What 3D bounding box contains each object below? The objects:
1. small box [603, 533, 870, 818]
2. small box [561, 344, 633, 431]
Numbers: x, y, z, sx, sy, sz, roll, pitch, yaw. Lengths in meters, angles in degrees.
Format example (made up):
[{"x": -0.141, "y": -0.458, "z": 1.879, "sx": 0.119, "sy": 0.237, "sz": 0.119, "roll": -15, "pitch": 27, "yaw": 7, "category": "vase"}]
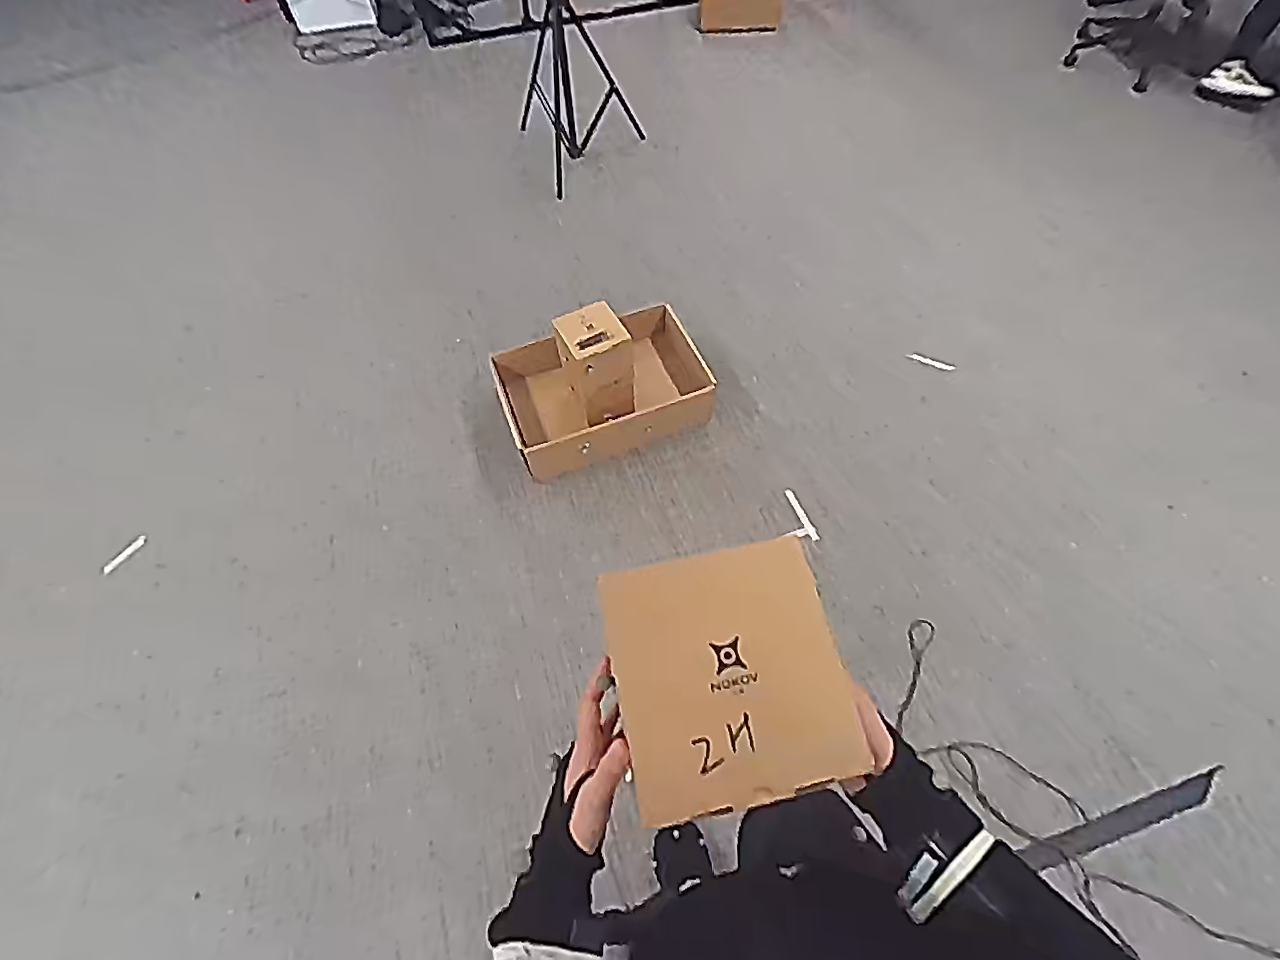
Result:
[{"x": 0.061, "y": 0.165, "z": 0.470, "sx": 0.168, "sy": 0.176, "sz": 0.179, "roll": -10, "pitch": 68, "yaw": -6, "category": "small box"}, {"x": -0.131, "y": -0.286, "z": 1.693, "sx": 0.168, "sy": 0.176, "sz": 0.179, "roll": -25, "pitch": 63, "yaw": -12, "category": "small box"}]
